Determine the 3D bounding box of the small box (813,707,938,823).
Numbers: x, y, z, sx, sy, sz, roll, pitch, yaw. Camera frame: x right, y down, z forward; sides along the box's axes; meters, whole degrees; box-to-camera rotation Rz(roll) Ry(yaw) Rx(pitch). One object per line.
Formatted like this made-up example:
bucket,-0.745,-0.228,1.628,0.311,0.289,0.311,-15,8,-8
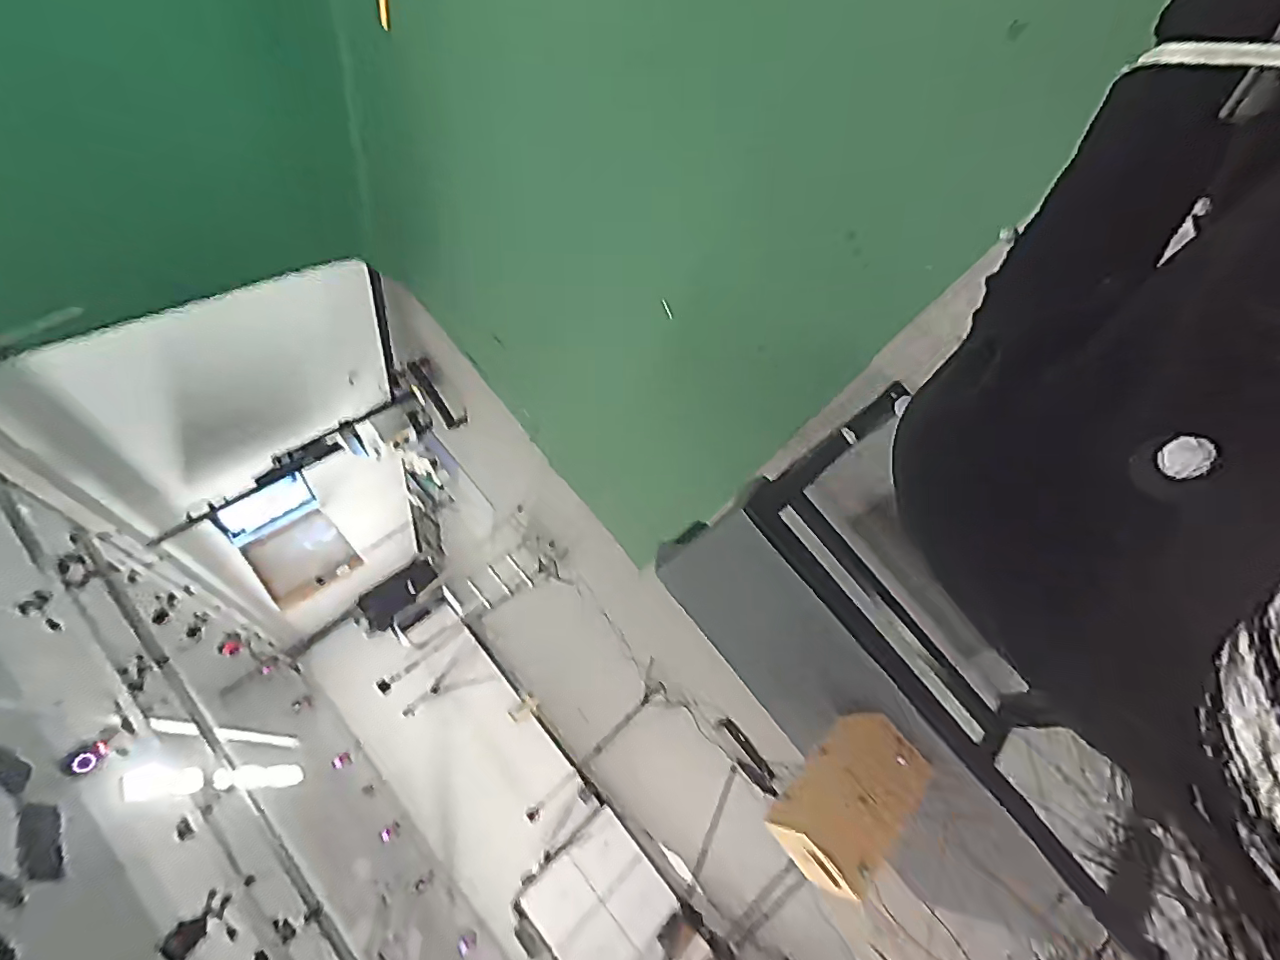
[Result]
small box,0.550,0.656,1.265,0.168,0.176,0.179,48,150,9
